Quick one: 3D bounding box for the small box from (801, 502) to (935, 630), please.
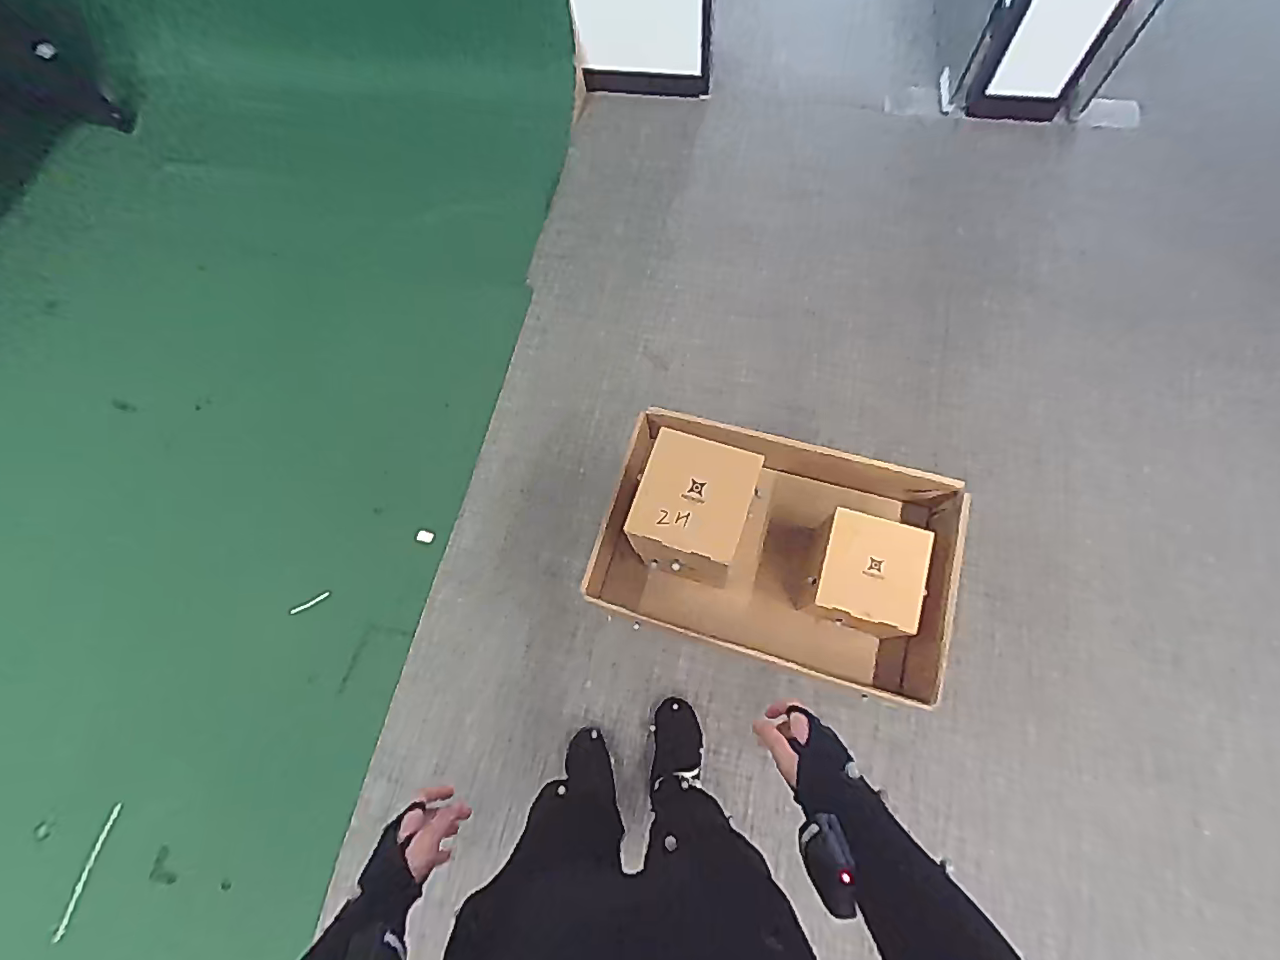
[{"bbox_3d":[0.399,0.159,0.972,0.168,0.176,0.179,15,76,10],"label":"small box"}]

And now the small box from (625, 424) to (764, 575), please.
[{"bbox_3d":[0.088,0.038,0.869,0.168,0.176,0.179,17,75,12],"label":"small box"}]
